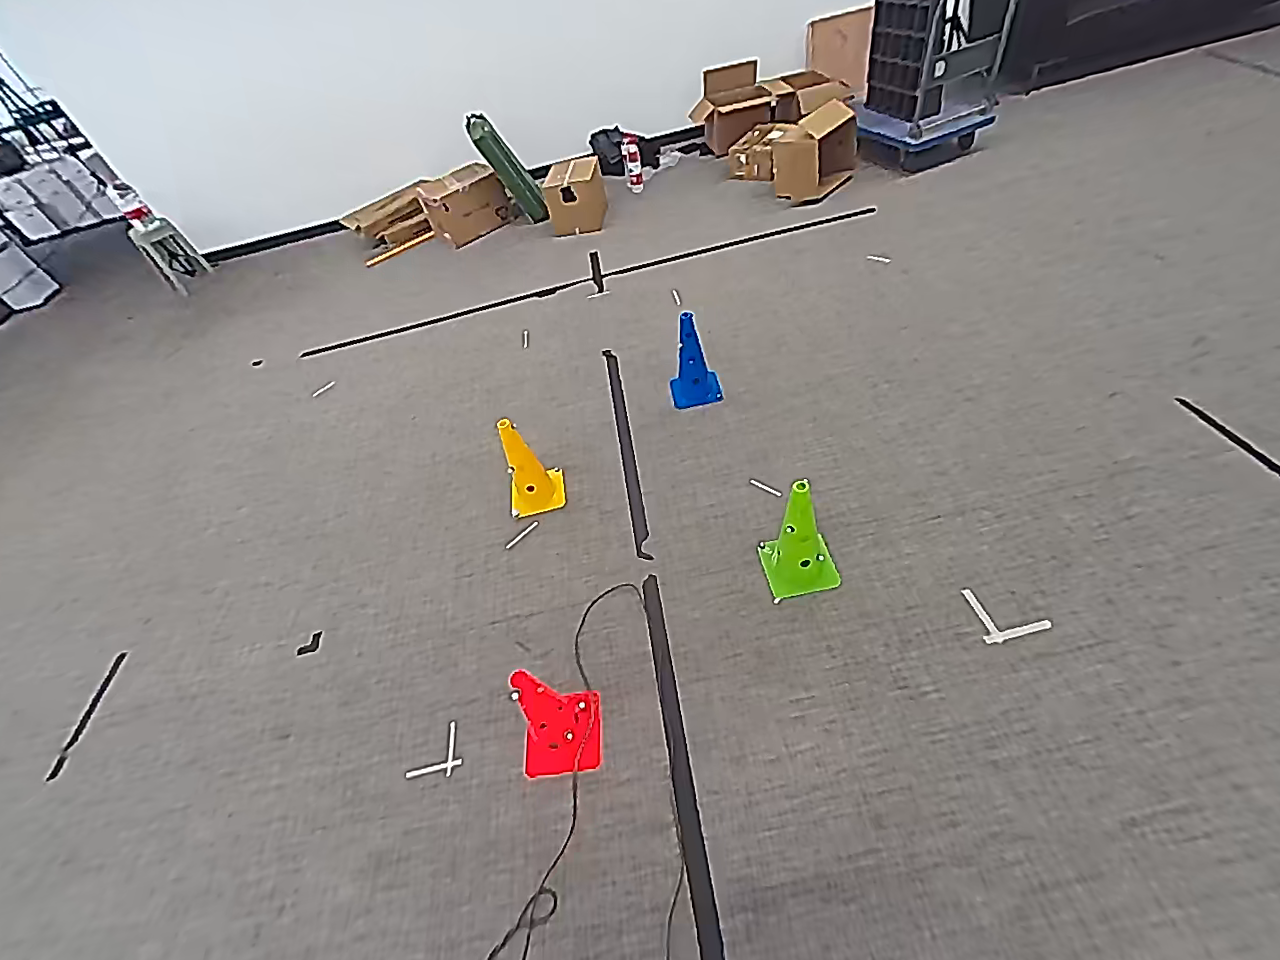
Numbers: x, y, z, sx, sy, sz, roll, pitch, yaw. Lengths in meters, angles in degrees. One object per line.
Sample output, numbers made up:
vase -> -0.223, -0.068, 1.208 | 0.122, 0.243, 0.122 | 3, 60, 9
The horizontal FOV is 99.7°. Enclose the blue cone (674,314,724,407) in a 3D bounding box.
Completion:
blue cone -> 0.216, -0.482, 2.136 | 0.192, 0.380, 0.193 | -9, 47, 4

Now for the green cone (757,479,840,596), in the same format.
green cone -> 0.442, 0.135, 1.492 | 0.202, 0.368, 0.200 | -12, 46, 2

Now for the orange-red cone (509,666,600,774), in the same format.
orange-red cone -> -0.236, 0.540, 1.293 | 0.199, 0.360, 0.198 | -10, 45, 6
